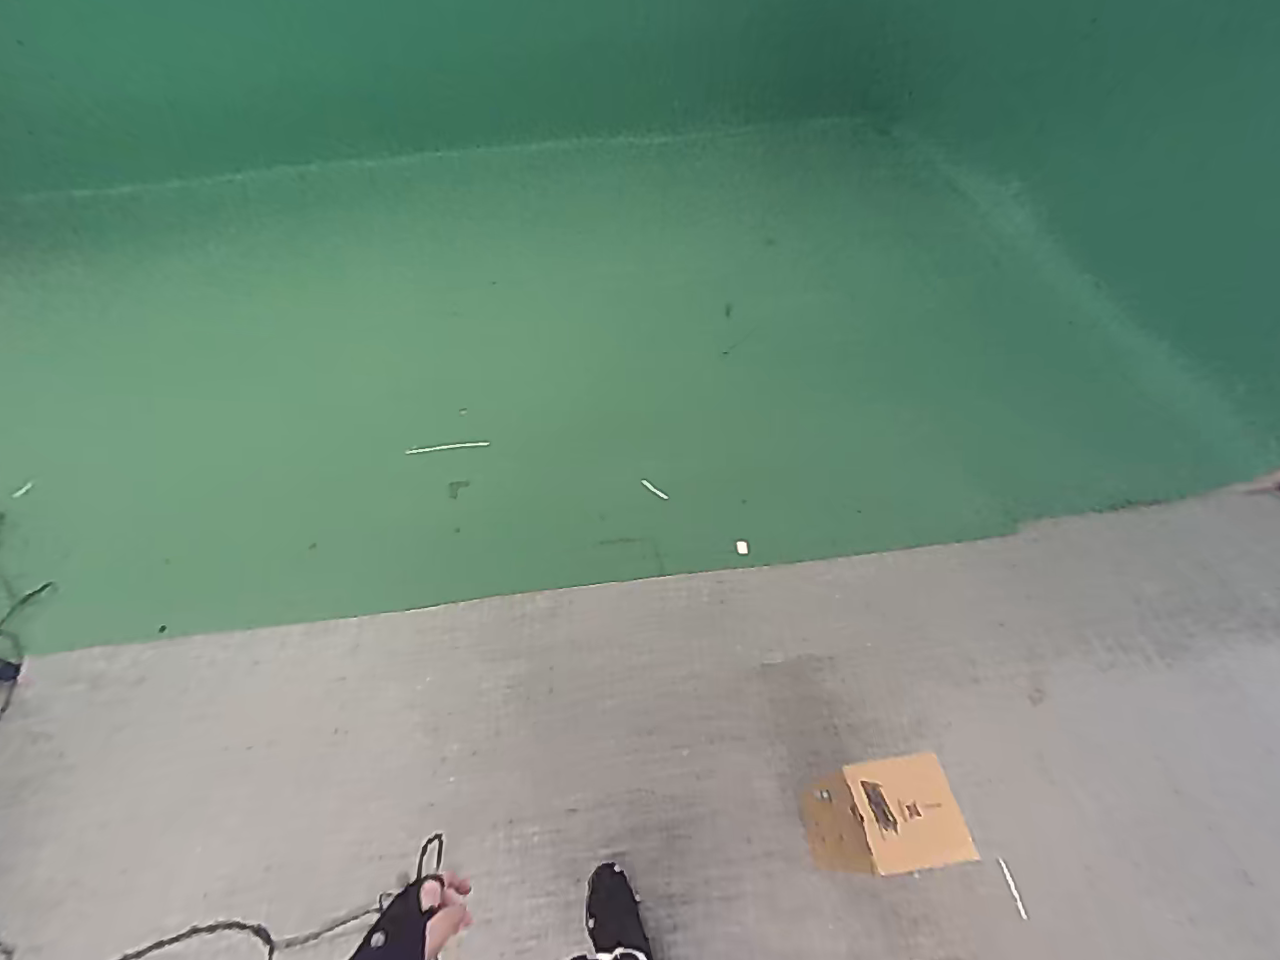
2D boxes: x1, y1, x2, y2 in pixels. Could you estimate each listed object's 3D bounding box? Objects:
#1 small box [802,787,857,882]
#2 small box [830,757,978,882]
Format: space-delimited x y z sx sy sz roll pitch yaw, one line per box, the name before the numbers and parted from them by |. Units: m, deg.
small box | 0.492 0.820 1.259 0.168 0.176 0.179 -7 55 -2
small box | 0.465 0.626 0.994 0.179 0.176 0.168 -8 54 -3
